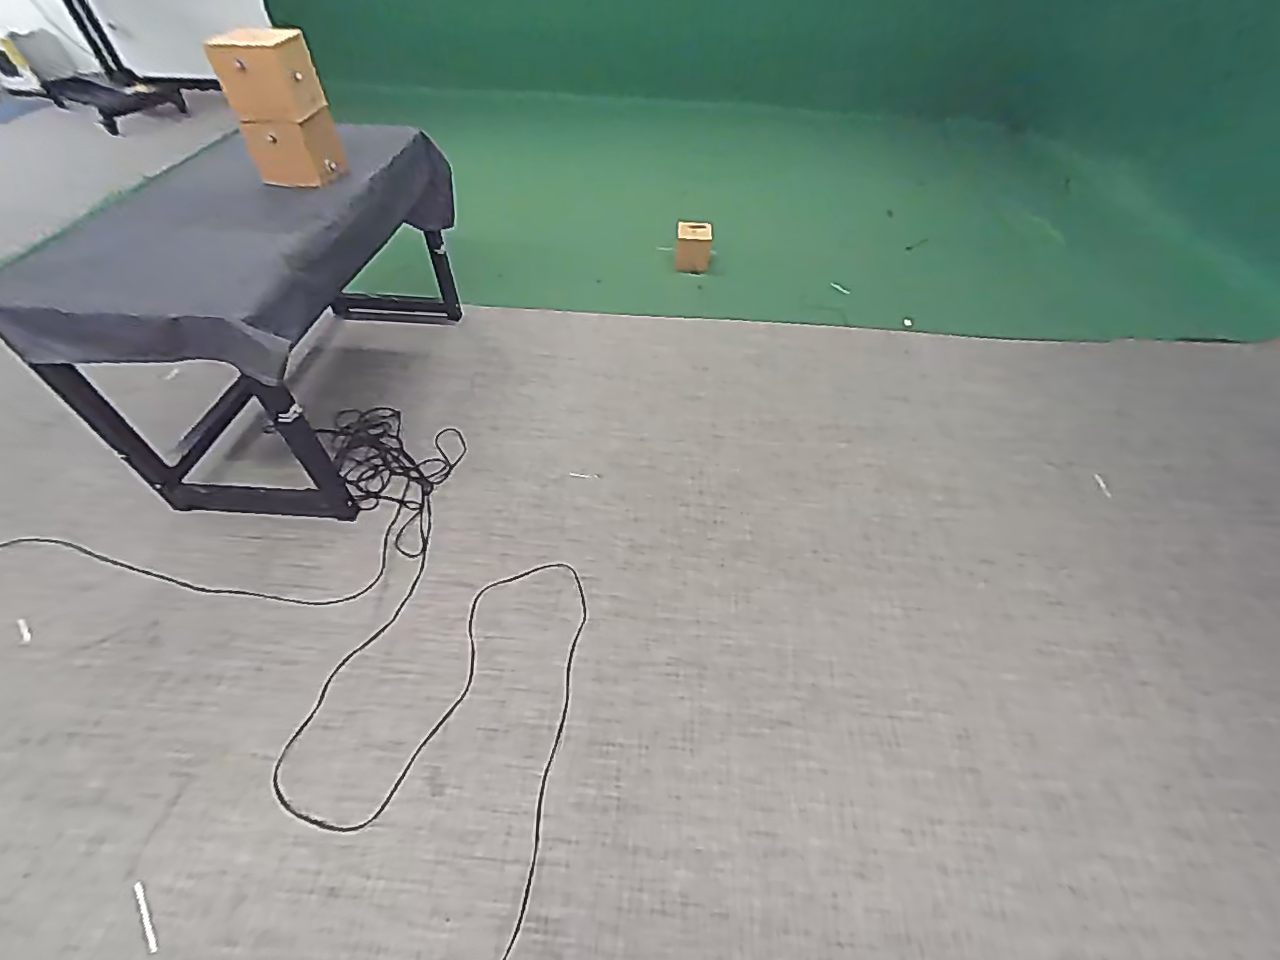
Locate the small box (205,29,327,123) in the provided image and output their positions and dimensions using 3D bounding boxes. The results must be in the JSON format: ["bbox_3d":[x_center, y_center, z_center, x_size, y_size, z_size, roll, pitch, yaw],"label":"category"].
[{"bbox_3d":[-0.969,-1.061,1.425,0.179,0.176,0.168,3,50,3],"label":"small box"}]

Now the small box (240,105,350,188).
[{"bbox_3d":[-0.978,-0.959,1.551,0.179,0.176,0.168,5,50,2],"label":"small box"}]
